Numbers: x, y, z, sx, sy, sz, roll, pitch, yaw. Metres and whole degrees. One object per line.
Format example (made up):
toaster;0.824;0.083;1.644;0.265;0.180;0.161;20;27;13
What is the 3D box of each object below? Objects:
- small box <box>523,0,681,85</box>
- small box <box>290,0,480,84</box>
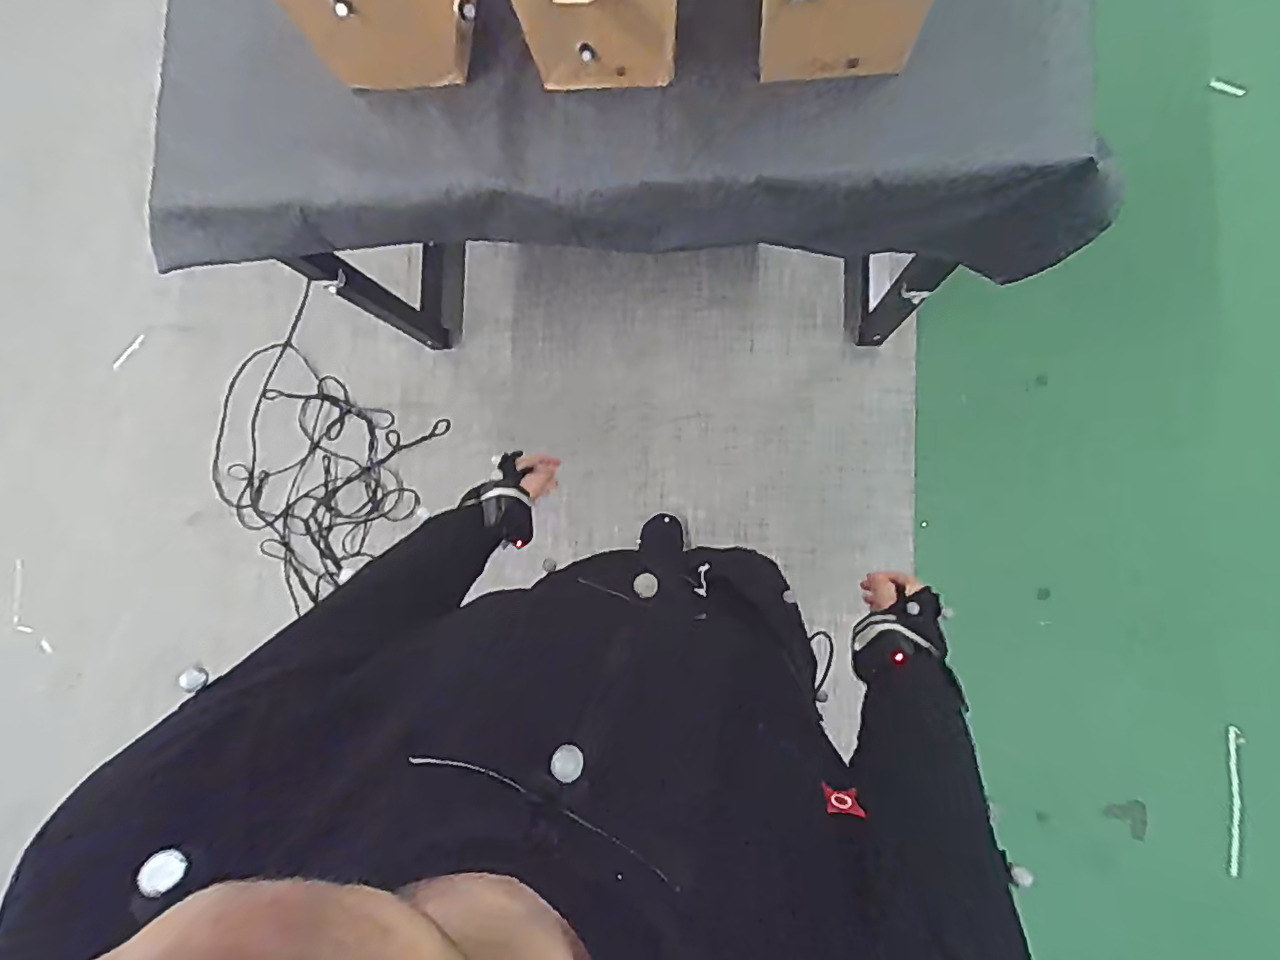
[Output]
small box;-0.043;-0.590;0.606;0.168;0.176;0.179;3;87;7
small box;-0.309;-0.609;0.642;0.179;0.176;0.168;4;88;7
